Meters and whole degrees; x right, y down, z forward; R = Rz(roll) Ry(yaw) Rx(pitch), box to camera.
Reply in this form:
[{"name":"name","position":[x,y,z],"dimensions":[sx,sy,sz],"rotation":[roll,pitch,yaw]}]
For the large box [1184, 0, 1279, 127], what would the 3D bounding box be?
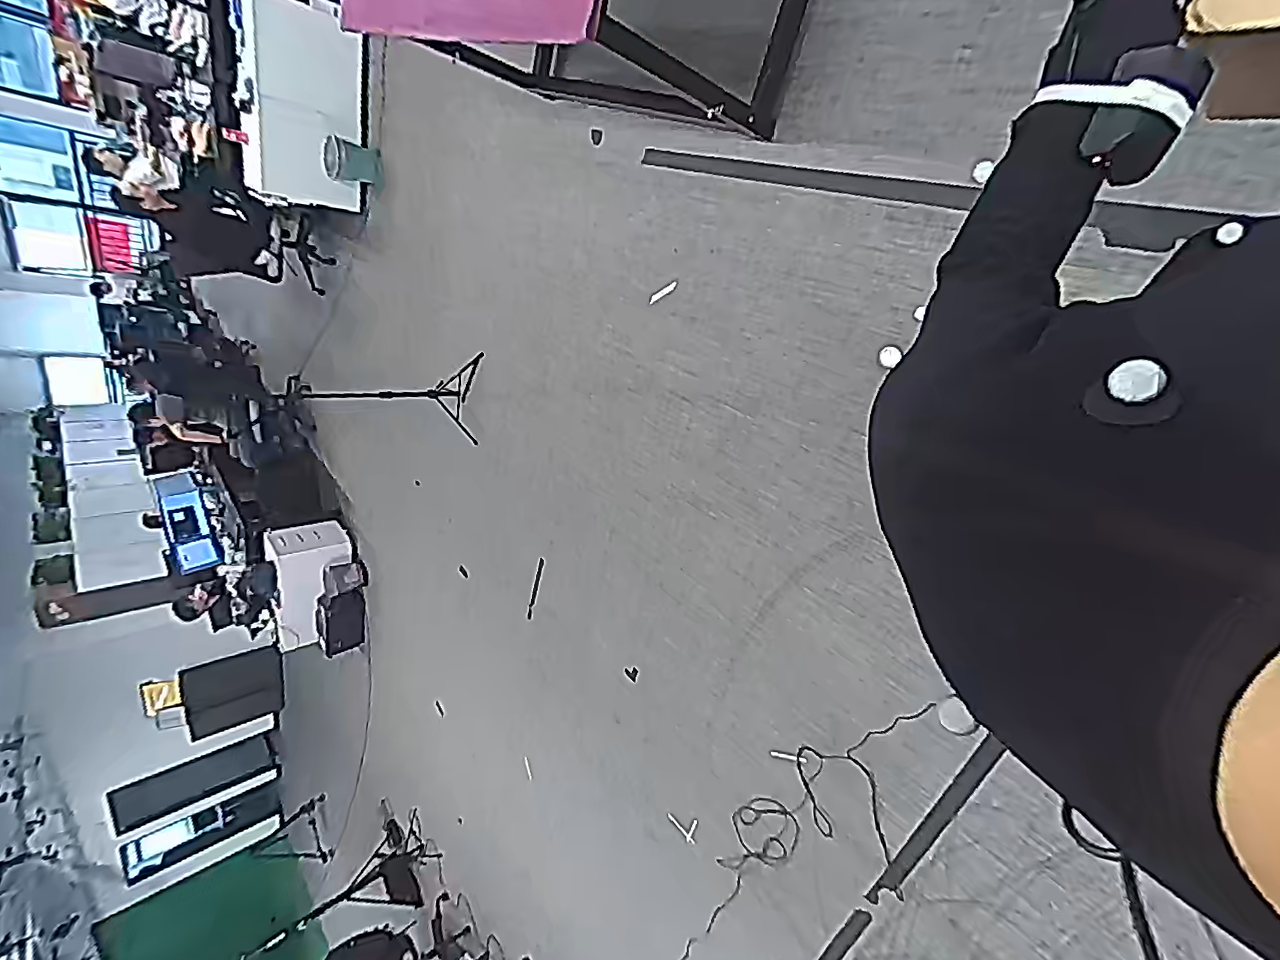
[{"name":"large box","position":[0.615,-0.391,0.270],"dimensions":[0.408,0.320,0.320],"rotation":[29,125,38]}]
